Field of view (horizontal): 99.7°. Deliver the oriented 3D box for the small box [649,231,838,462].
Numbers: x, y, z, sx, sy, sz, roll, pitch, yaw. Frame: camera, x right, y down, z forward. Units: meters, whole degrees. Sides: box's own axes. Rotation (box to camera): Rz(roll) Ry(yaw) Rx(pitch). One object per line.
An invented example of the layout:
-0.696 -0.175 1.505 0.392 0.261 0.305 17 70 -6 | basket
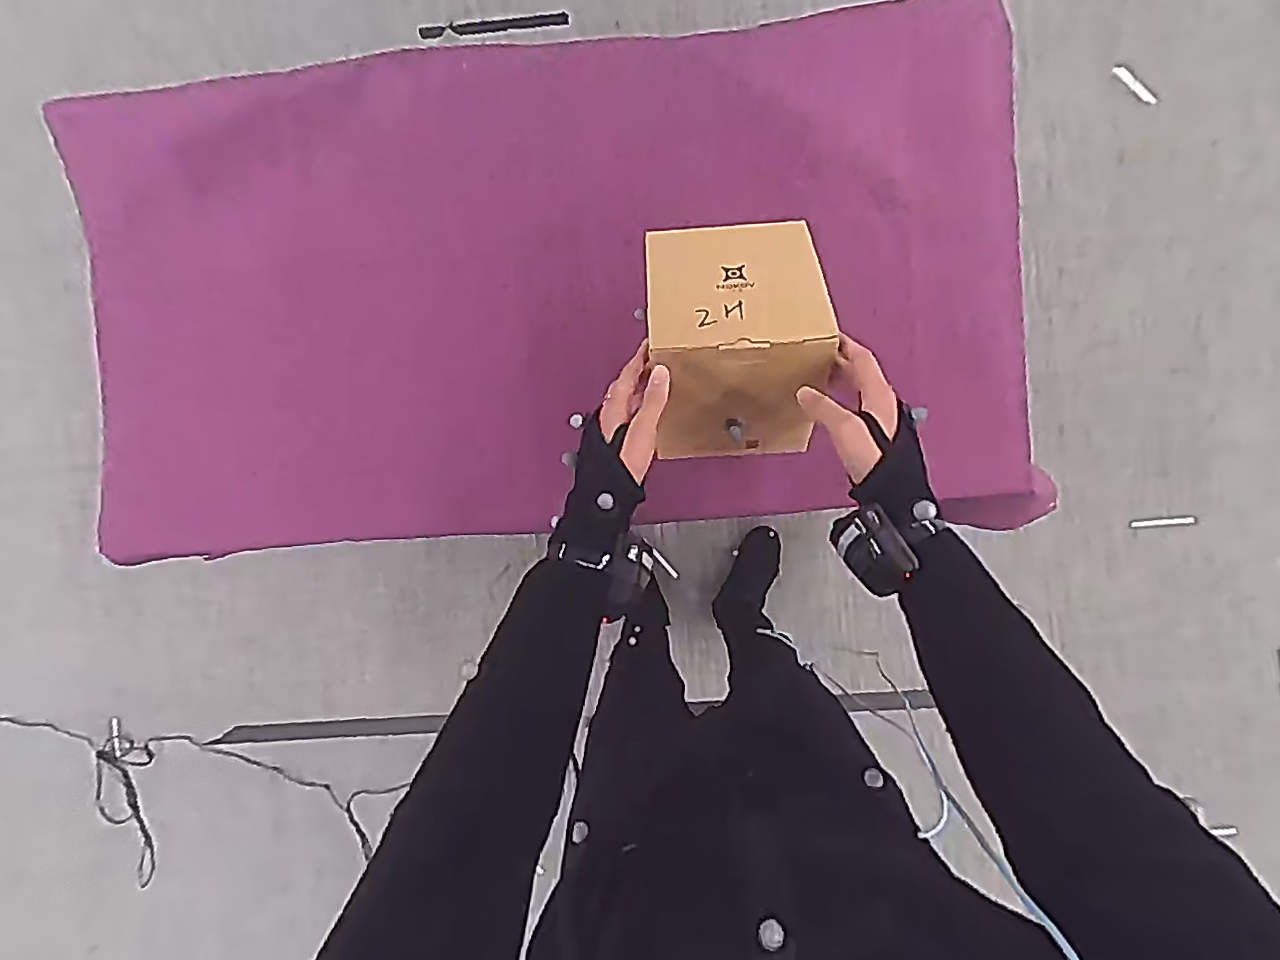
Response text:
0.095 -0.138 0.581 0.168 0.176 0.179 -3 56 3 | small box
